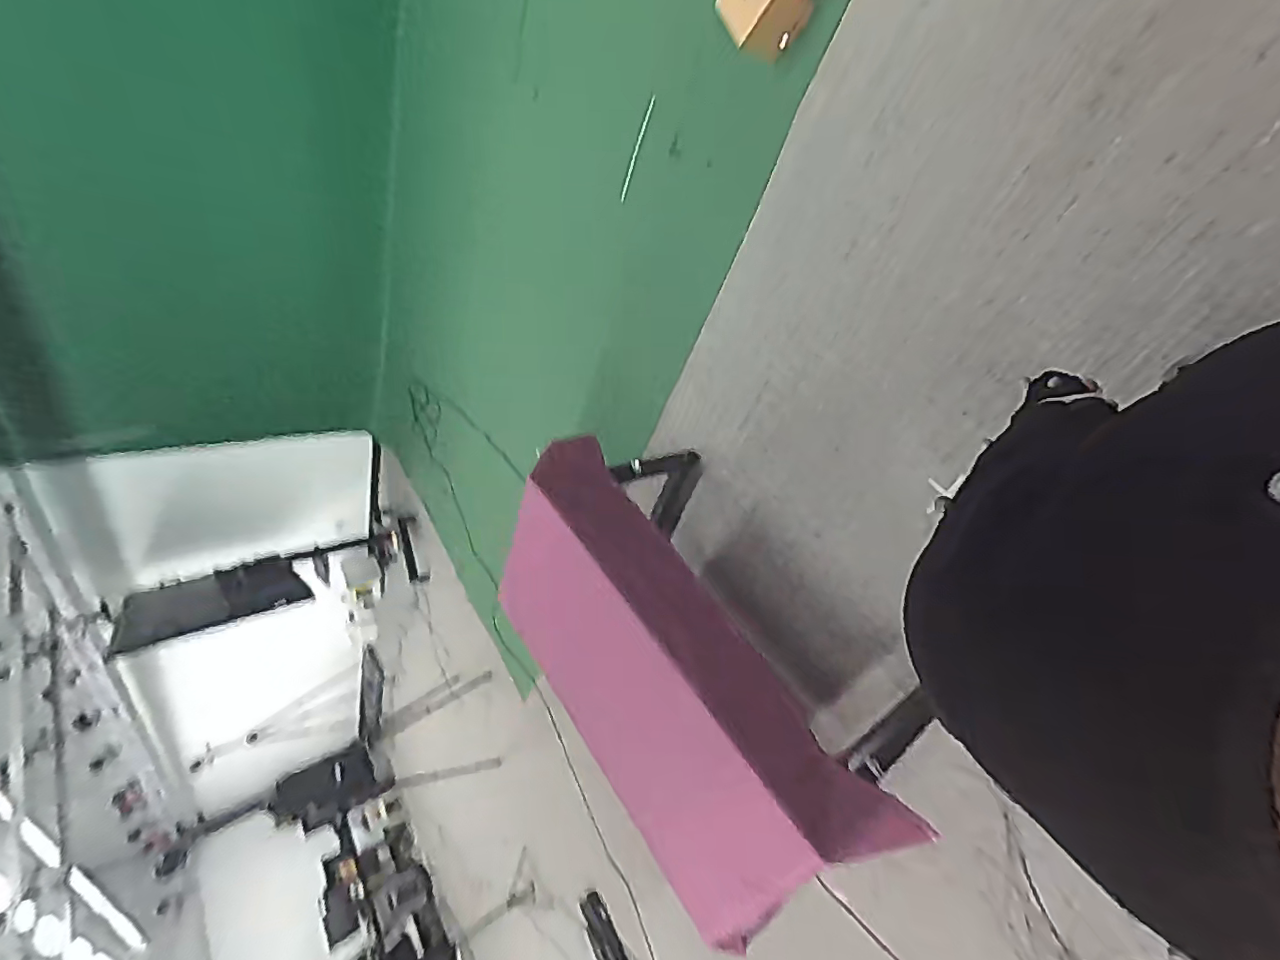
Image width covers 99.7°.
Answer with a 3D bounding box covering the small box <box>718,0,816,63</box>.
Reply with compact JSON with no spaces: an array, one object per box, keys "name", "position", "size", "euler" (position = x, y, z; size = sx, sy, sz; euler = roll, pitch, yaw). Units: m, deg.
[{"name":"small box","position":[0.356,-1.326,1.516],"size":[0.168,0.176,0.179],"euler":[-36,72,49]}]
